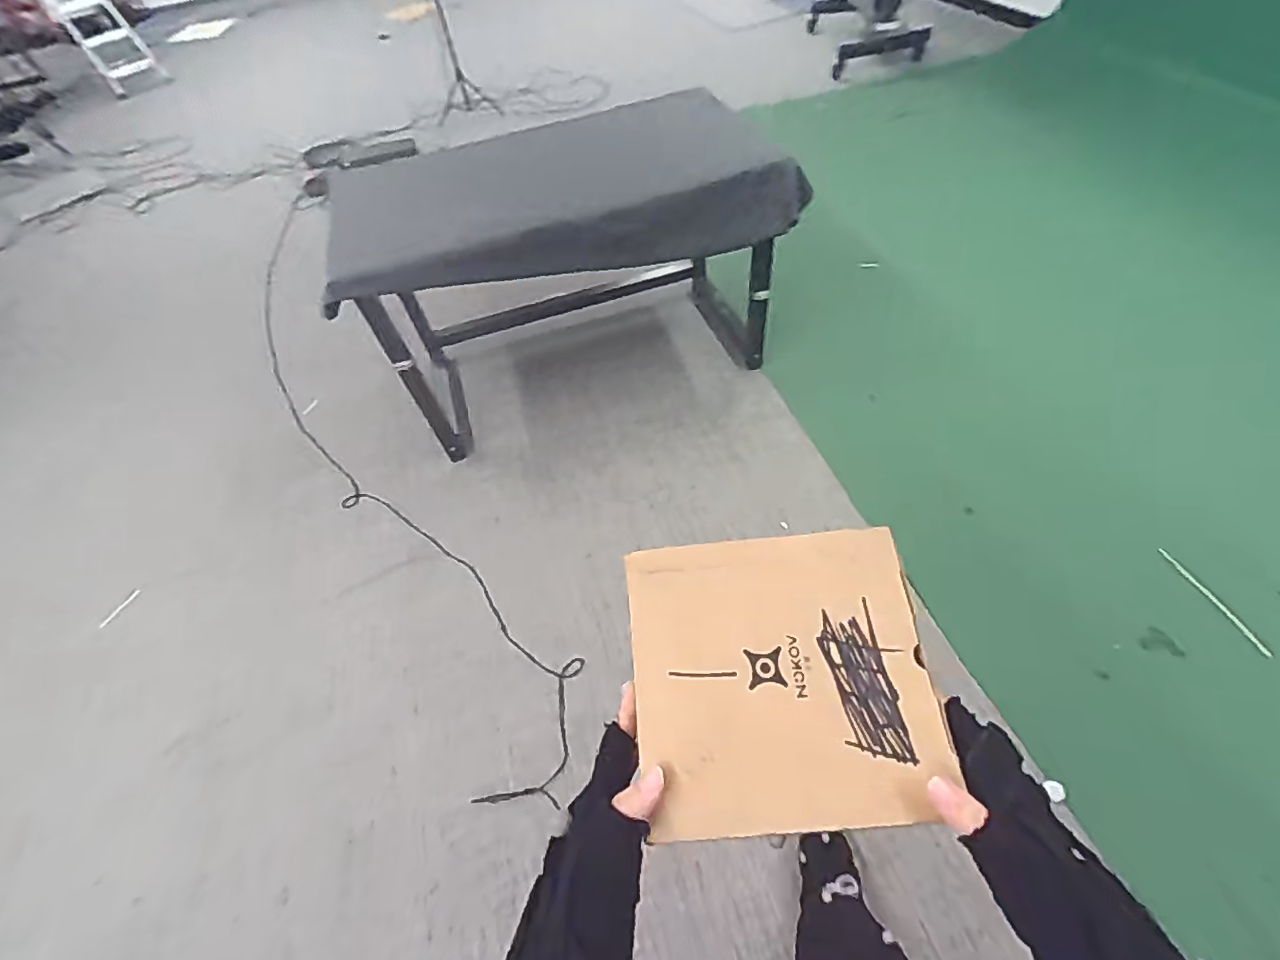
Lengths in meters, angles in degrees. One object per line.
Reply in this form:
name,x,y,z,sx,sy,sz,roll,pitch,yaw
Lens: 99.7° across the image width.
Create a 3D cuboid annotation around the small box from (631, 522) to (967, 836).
small box,0.090,0.146,0.403,0.179,0.176,0.168,-8,63,-2
